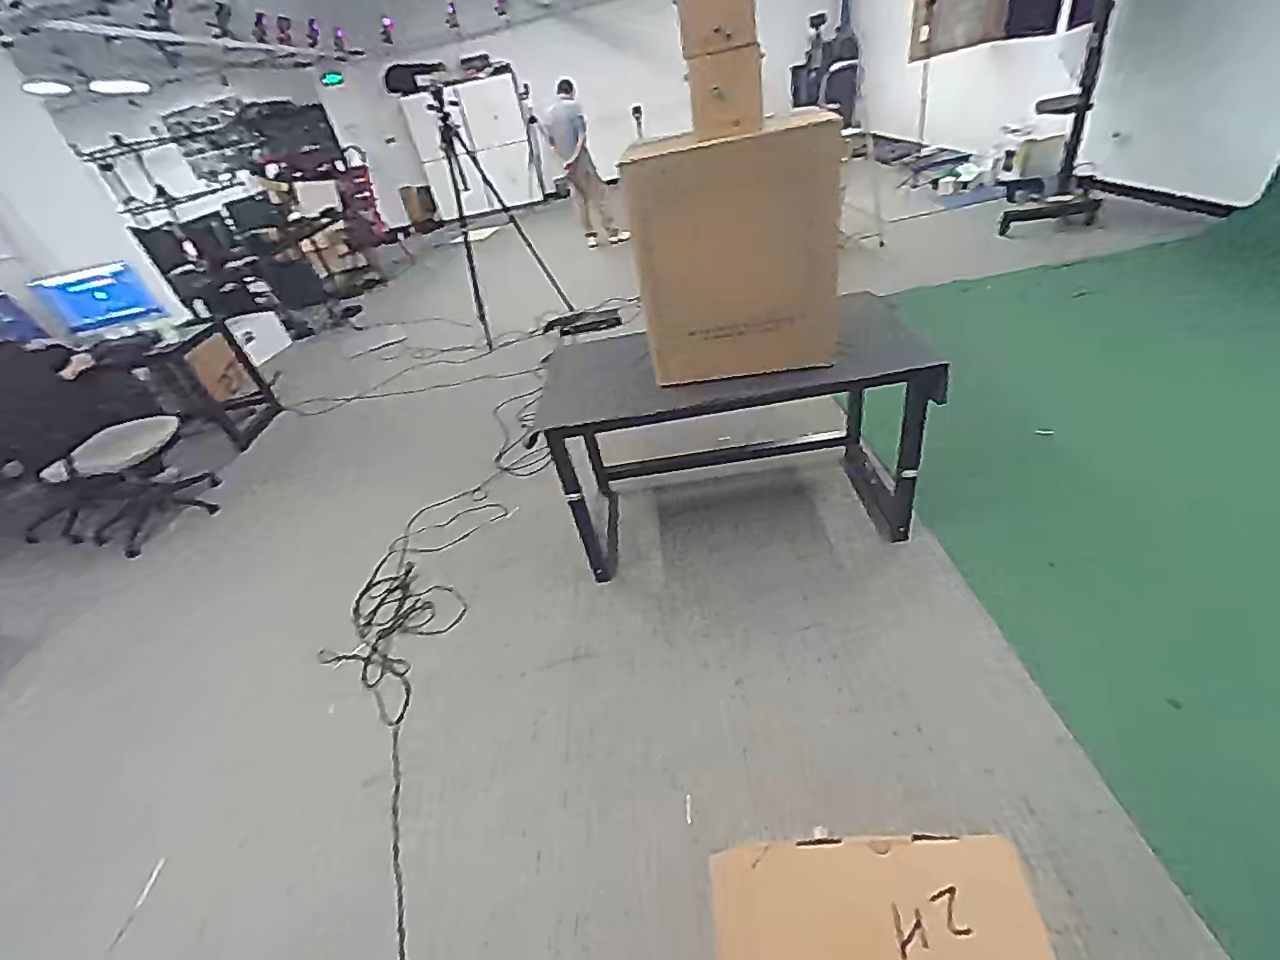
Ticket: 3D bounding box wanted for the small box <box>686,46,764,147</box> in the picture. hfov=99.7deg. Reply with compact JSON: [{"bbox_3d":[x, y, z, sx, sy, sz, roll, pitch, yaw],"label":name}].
[{"bbox_3d":[0.209,-0.921,1.306,0.168,0.176,0.179,-4,39,12],"label":"small box"}]
